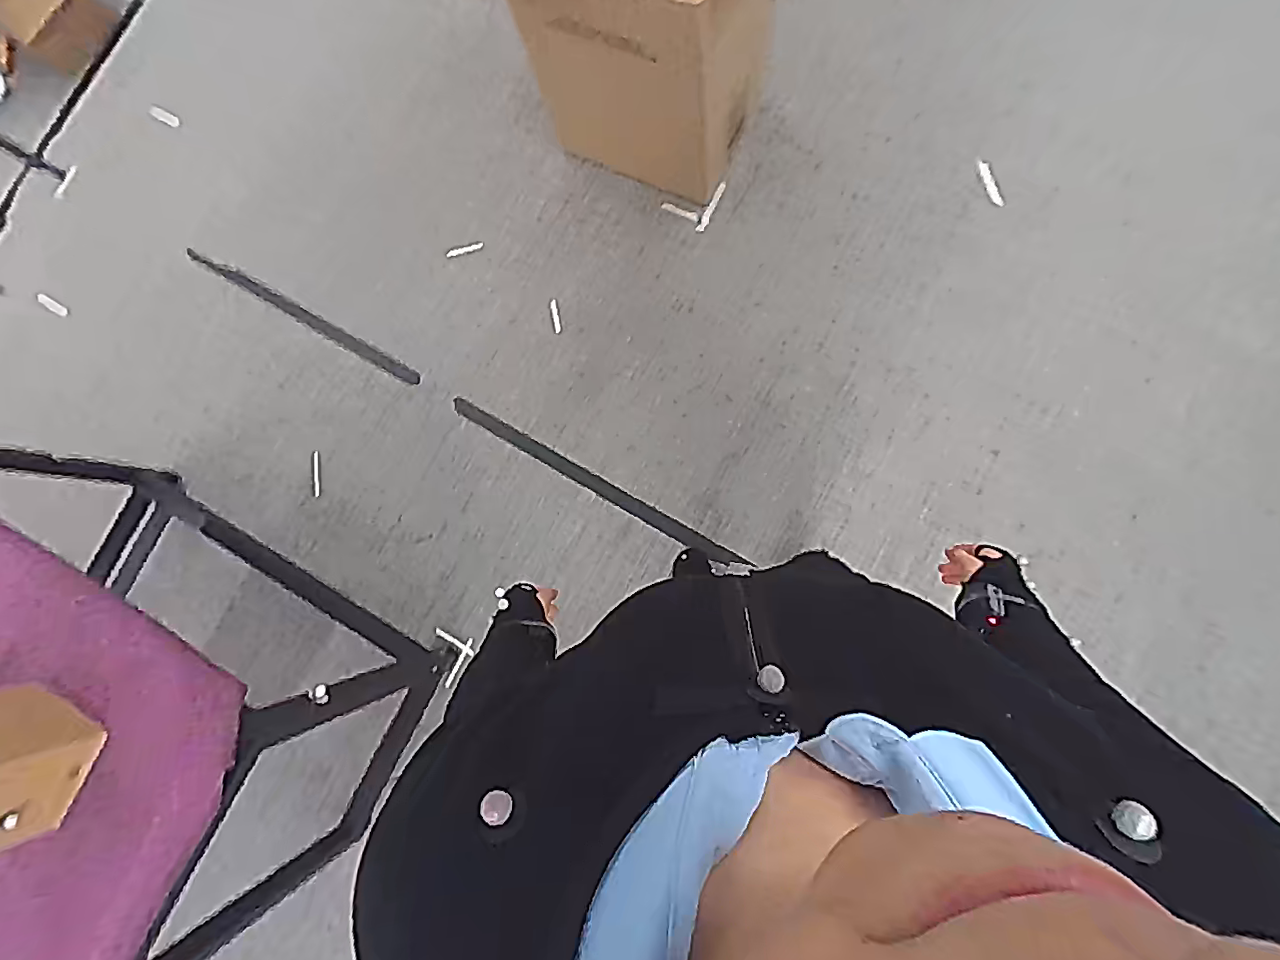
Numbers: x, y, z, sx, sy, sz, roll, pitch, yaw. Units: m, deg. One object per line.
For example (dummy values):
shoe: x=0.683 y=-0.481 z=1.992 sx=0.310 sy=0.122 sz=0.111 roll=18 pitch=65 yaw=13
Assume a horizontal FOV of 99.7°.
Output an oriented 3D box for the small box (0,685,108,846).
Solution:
small box: x=-0.977 y=0.433 z=0.813 sx=0.179 sy=0.176 sz=0.168 roll=25 pitch=86 yaw=11
